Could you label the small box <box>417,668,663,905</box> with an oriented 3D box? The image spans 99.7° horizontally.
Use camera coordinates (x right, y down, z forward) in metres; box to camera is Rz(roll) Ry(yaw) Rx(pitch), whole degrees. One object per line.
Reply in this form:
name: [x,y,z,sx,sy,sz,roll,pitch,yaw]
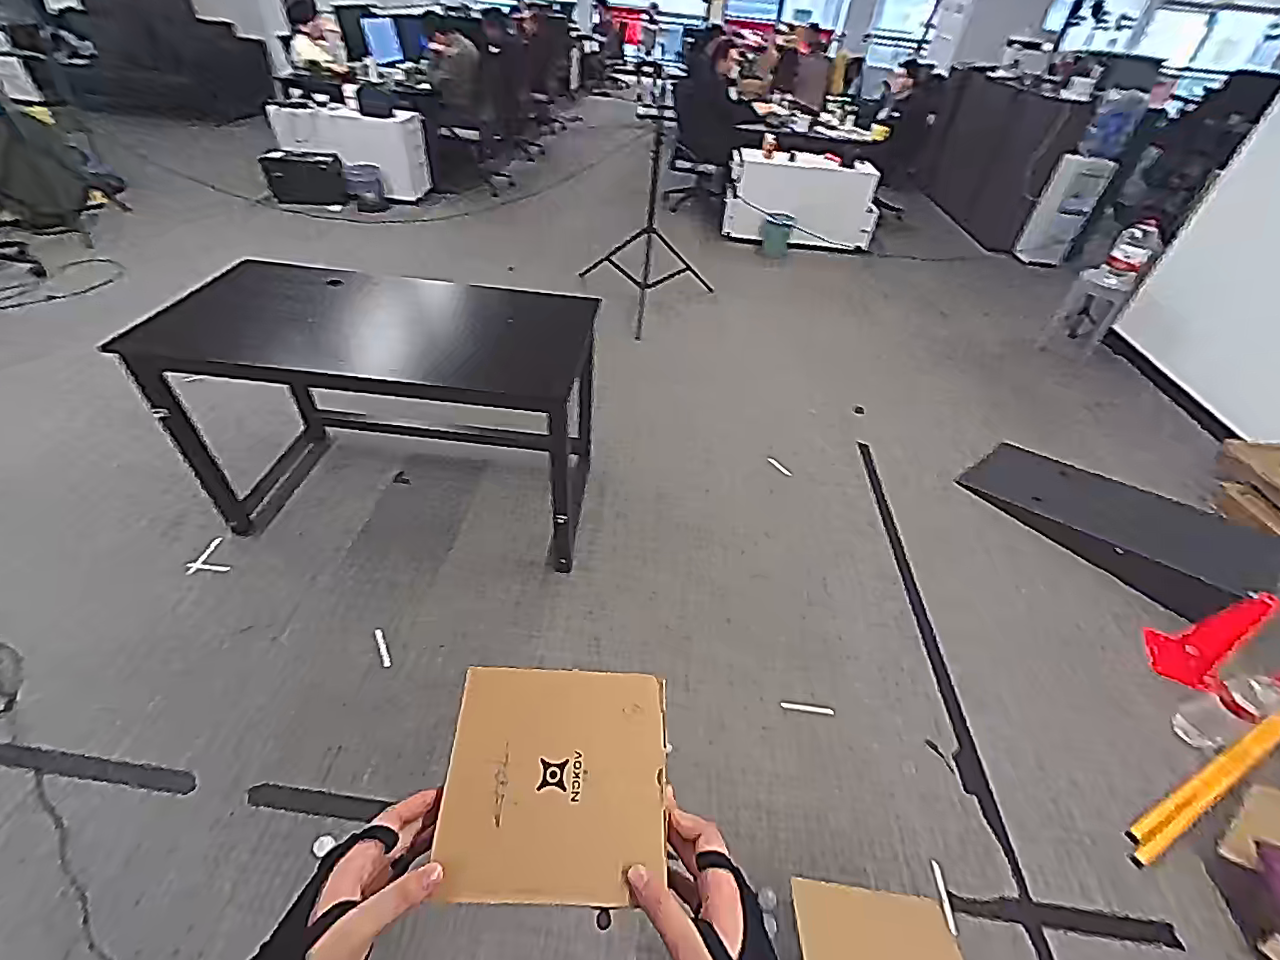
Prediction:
small box: [-0.076,0.282,0.494,0.179,0.176,0.168,2,52,-3]
